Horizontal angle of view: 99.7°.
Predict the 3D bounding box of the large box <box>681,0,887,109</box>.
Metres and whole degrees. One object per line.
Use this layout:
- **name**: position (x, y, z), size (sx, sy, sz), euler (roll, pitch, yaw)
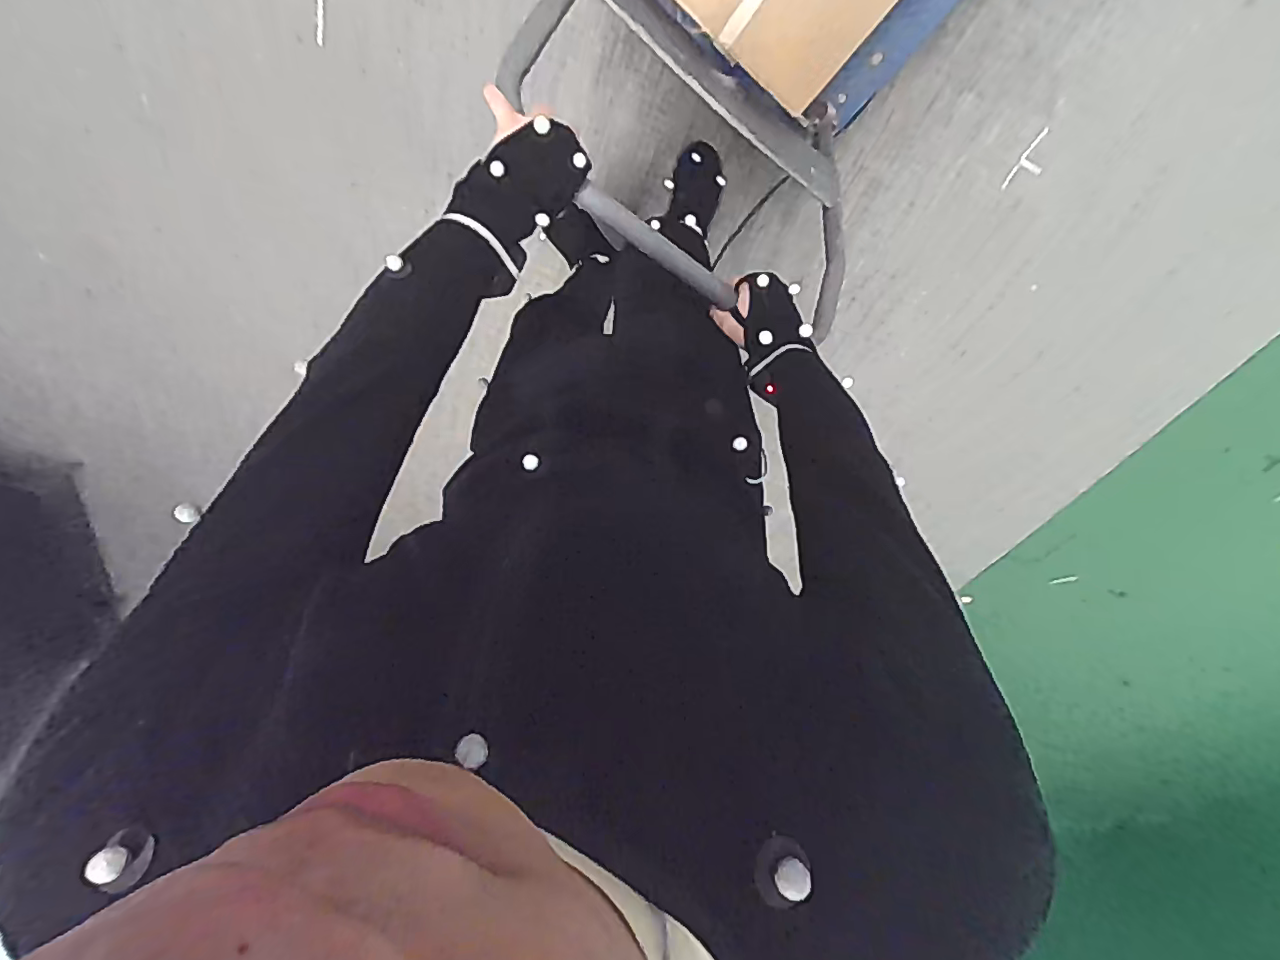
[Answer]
- **large box**: position (0.248, -0.844, 0.743), size (0.320, 0.320, 0.408), euler (29, 137, -23)
